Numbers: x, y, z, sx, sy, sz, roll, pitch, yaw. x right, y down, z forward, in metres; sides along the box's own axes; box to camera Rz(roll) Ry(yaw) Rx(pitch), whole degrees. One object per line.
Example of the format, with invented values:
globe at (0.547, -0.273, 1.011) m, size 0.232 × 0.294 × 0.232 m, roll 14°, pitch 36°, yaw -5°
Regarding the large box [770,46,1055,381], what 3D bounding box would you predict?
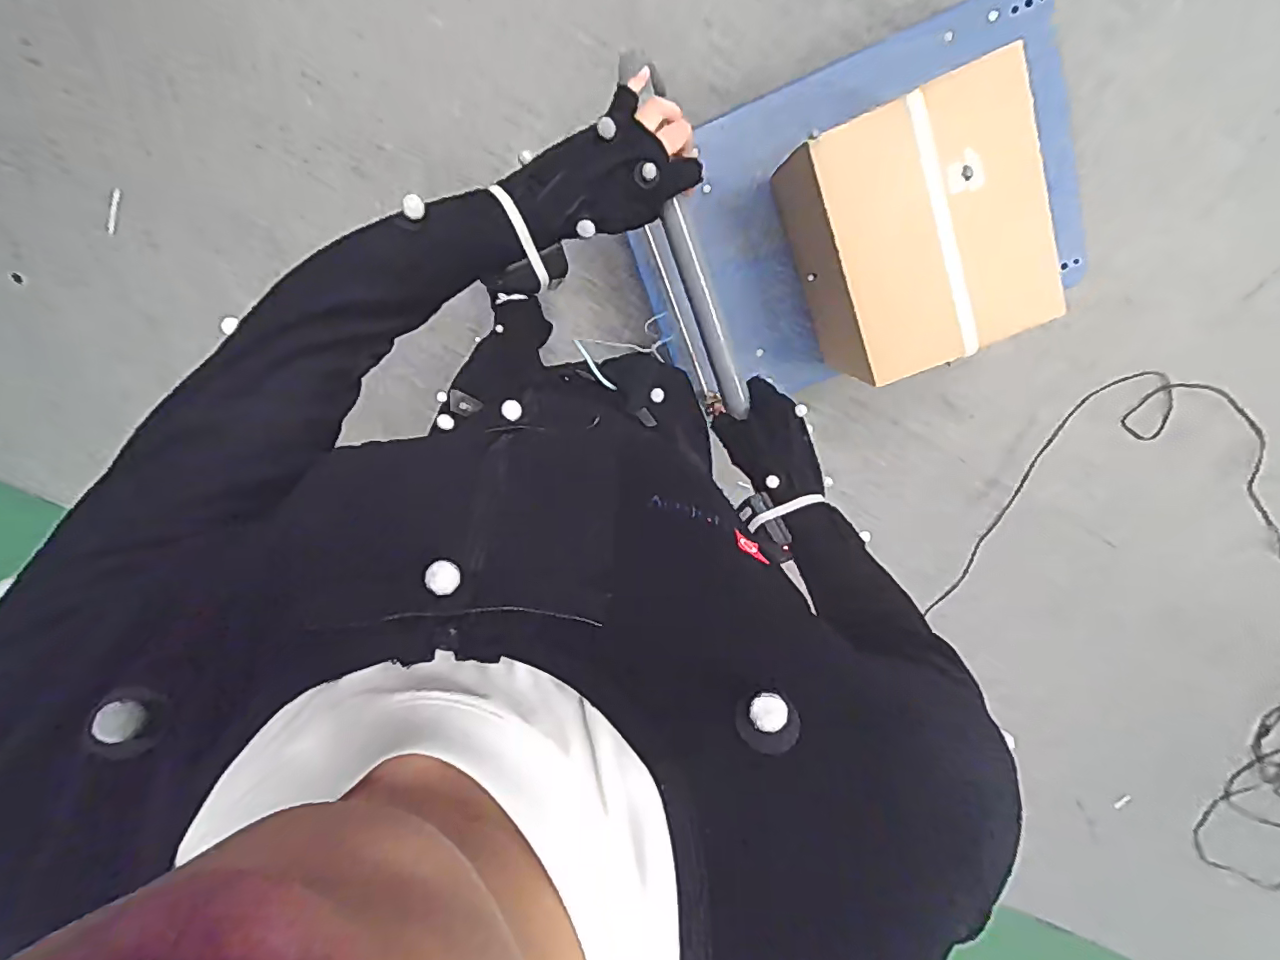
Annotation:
large box at (0.467, -0.442, 0.990) m, size 0.320 × 0.320 × 0.408 m, roll -21°, pitch 106°, yaw 9°
